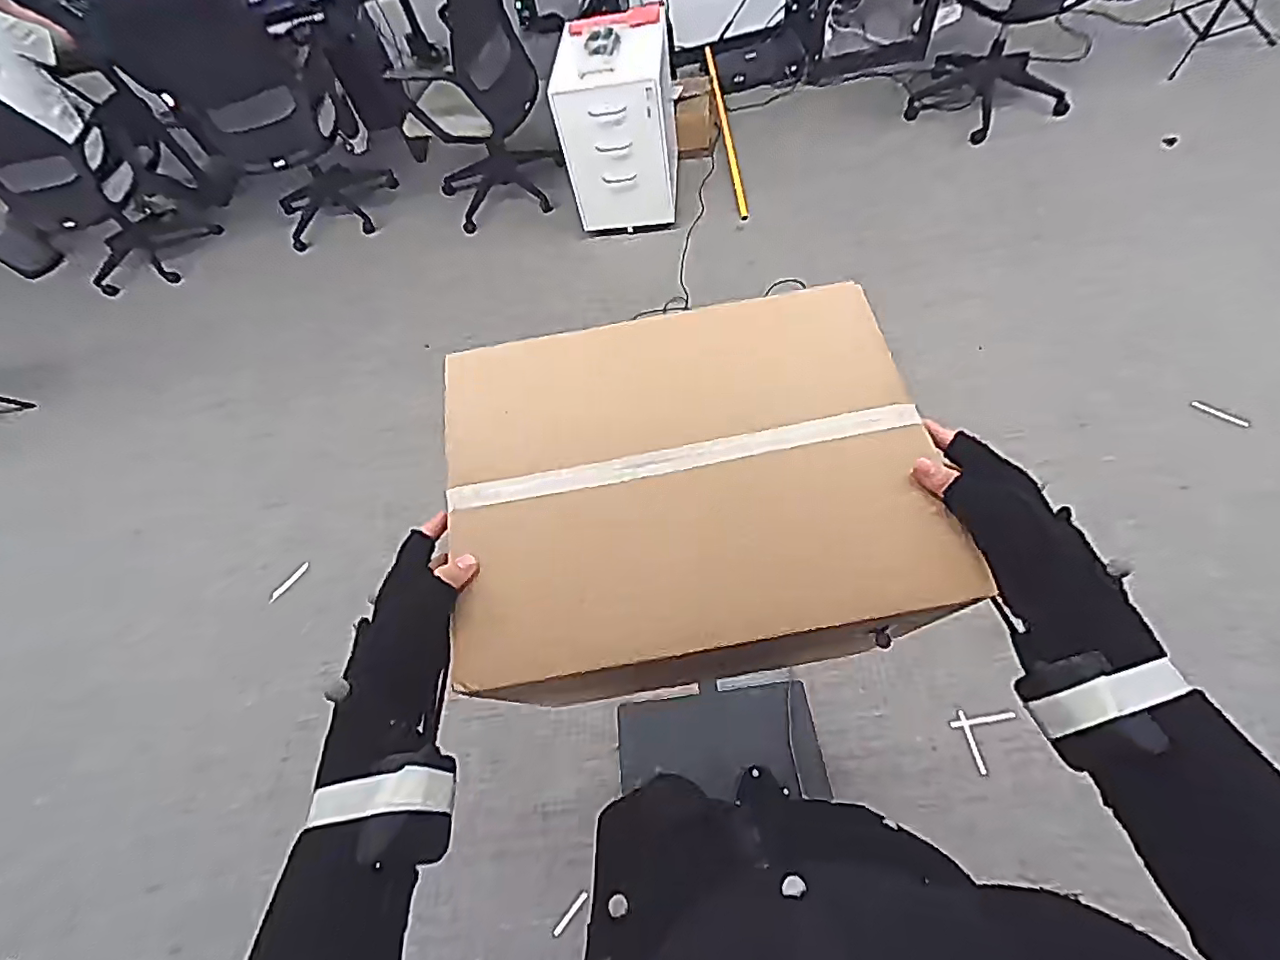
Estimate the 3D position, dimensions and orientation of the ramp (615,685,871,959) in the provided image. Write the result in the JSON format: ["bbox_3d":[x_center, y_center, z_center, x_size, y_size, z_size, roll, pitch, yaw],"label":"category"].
[{"bbox_3d":[0.210,0.950,1.106,0.509,0.206,0.991,-11,59,4],"label":"ramp"}]

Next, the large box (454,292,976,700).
[{"bbox_3d":[0.050,0.046,0.604,0.408,0.320,0.320,-10,65,0],"label":"large box"}]
